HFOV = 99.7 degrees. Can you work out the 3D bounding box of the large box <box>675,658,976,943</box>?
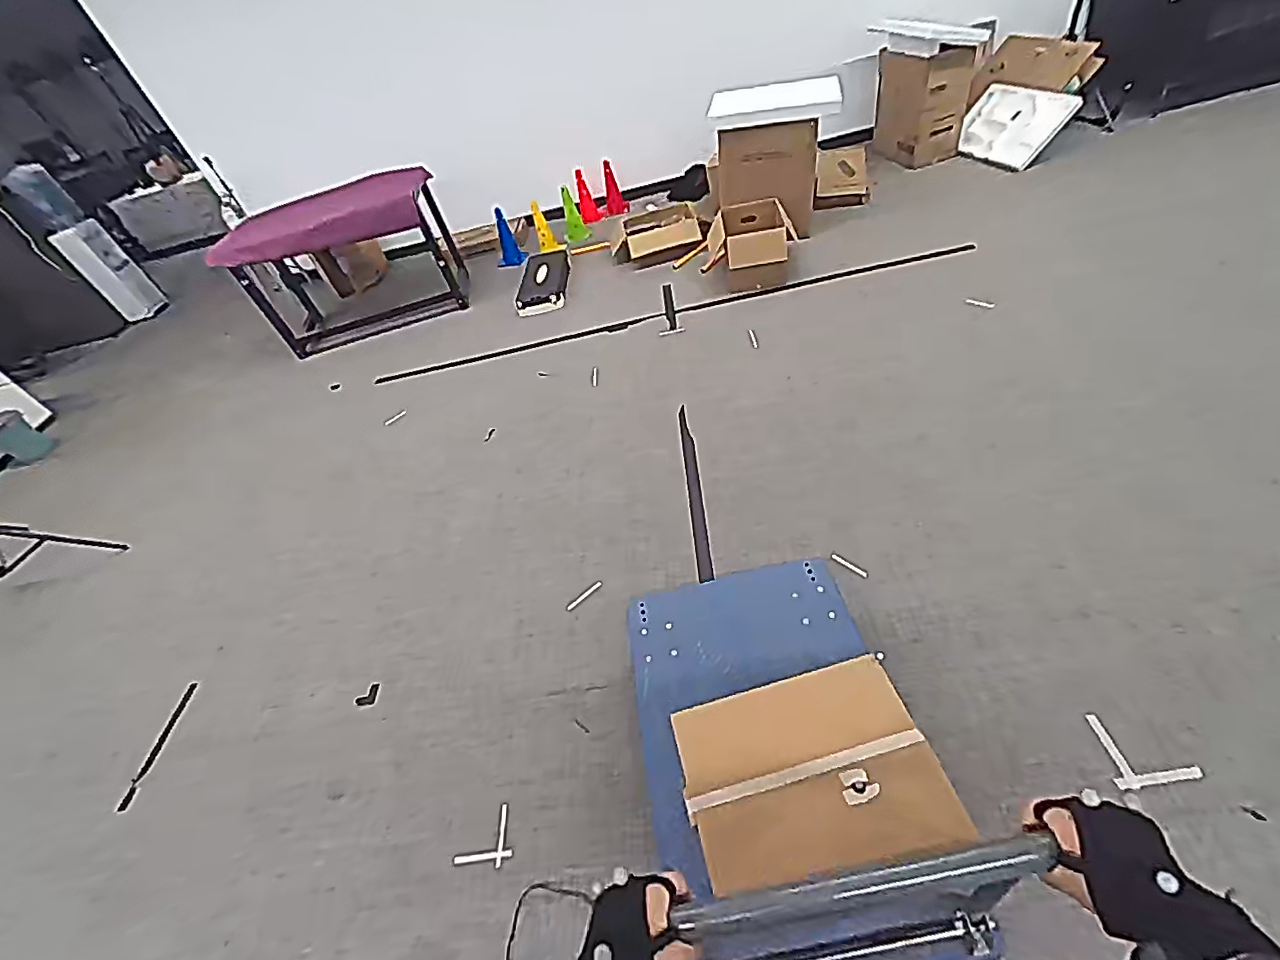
[{"bbox_3d":[0.312,0.598,1.012,0.408,0.320,0.320,-16,44,-2],"label":"large box"}]
